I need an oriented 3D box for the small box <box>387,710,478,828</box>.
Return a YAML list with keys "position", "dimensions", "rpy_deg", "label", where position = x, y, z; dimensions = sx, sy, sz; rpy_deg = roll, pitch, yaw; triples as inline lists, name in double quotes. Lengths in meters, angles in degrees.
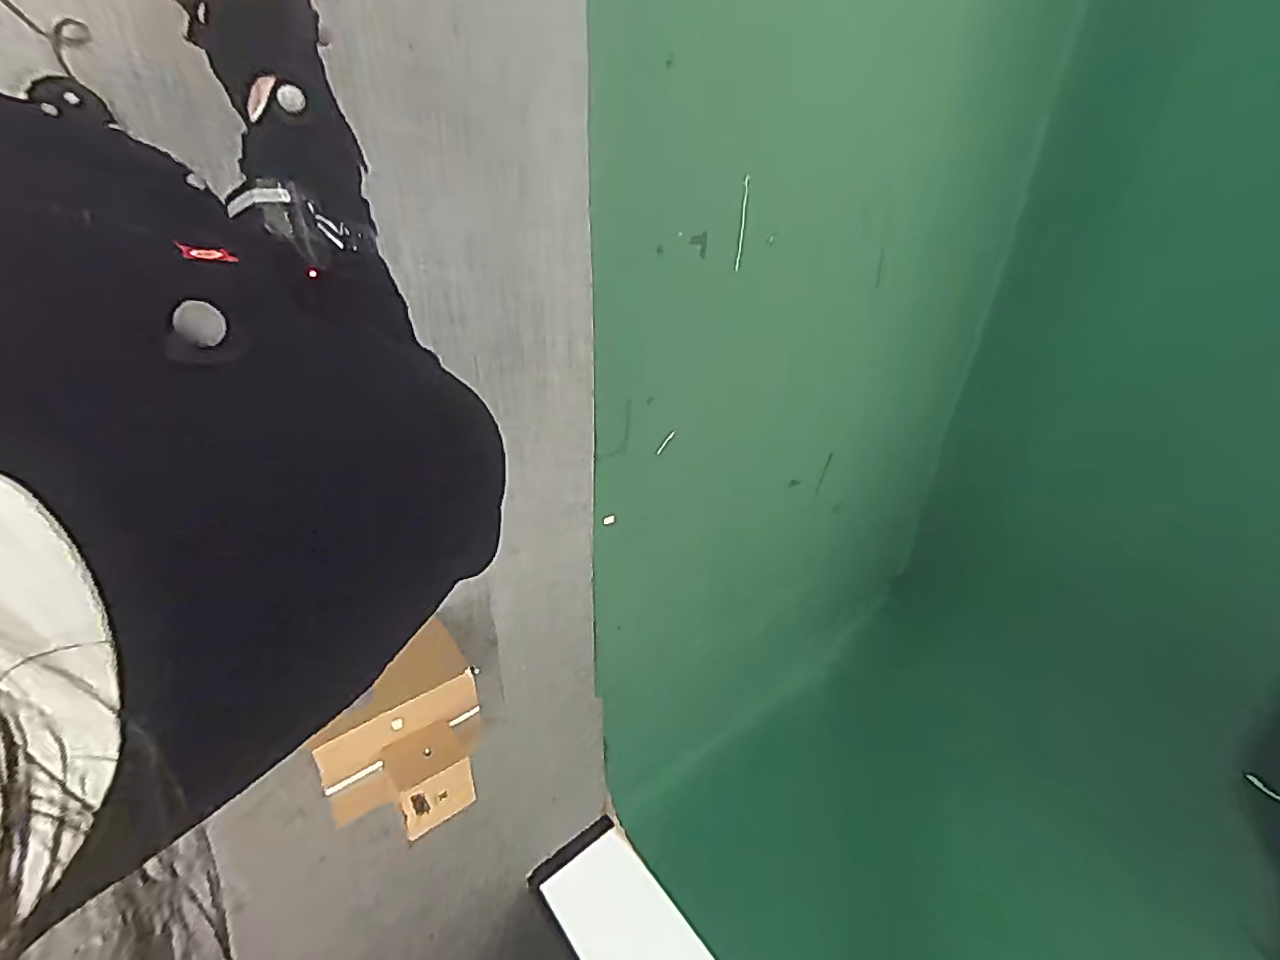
- position: [-0.554, 0.757, 1.433]
  dimensions: [0.179, 0.176, 0.168]
  rpy_deg: [-20, 119, -33]
  label: "small box"
